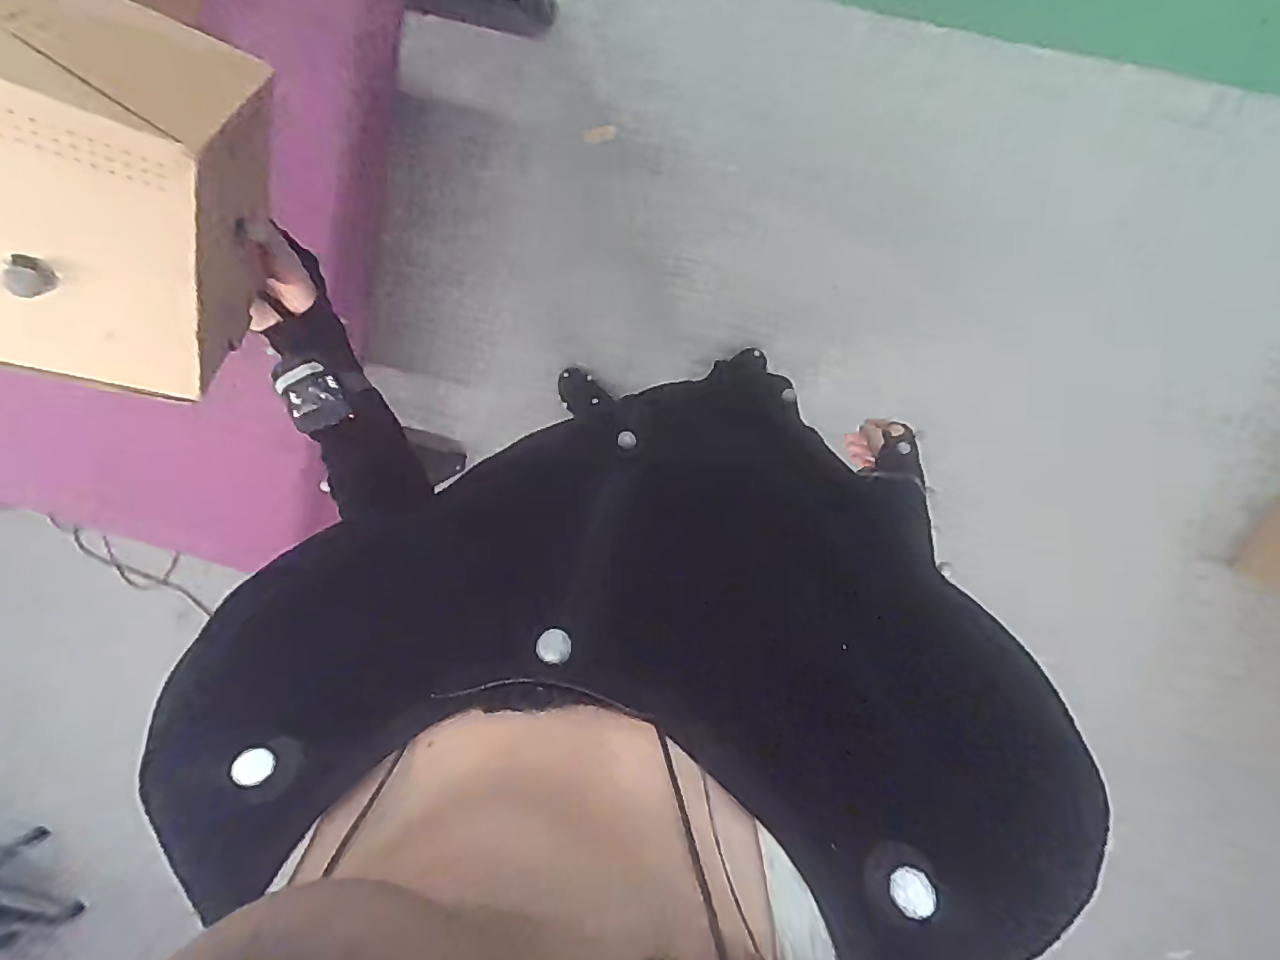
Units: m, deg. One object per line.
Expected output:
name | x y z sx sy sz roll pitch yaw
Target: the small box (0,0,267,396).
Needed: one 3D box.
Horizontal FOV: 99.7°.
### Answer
small box | -0.329 -0.179 0.304 0.179 0.168 0.176 12 133 -28
